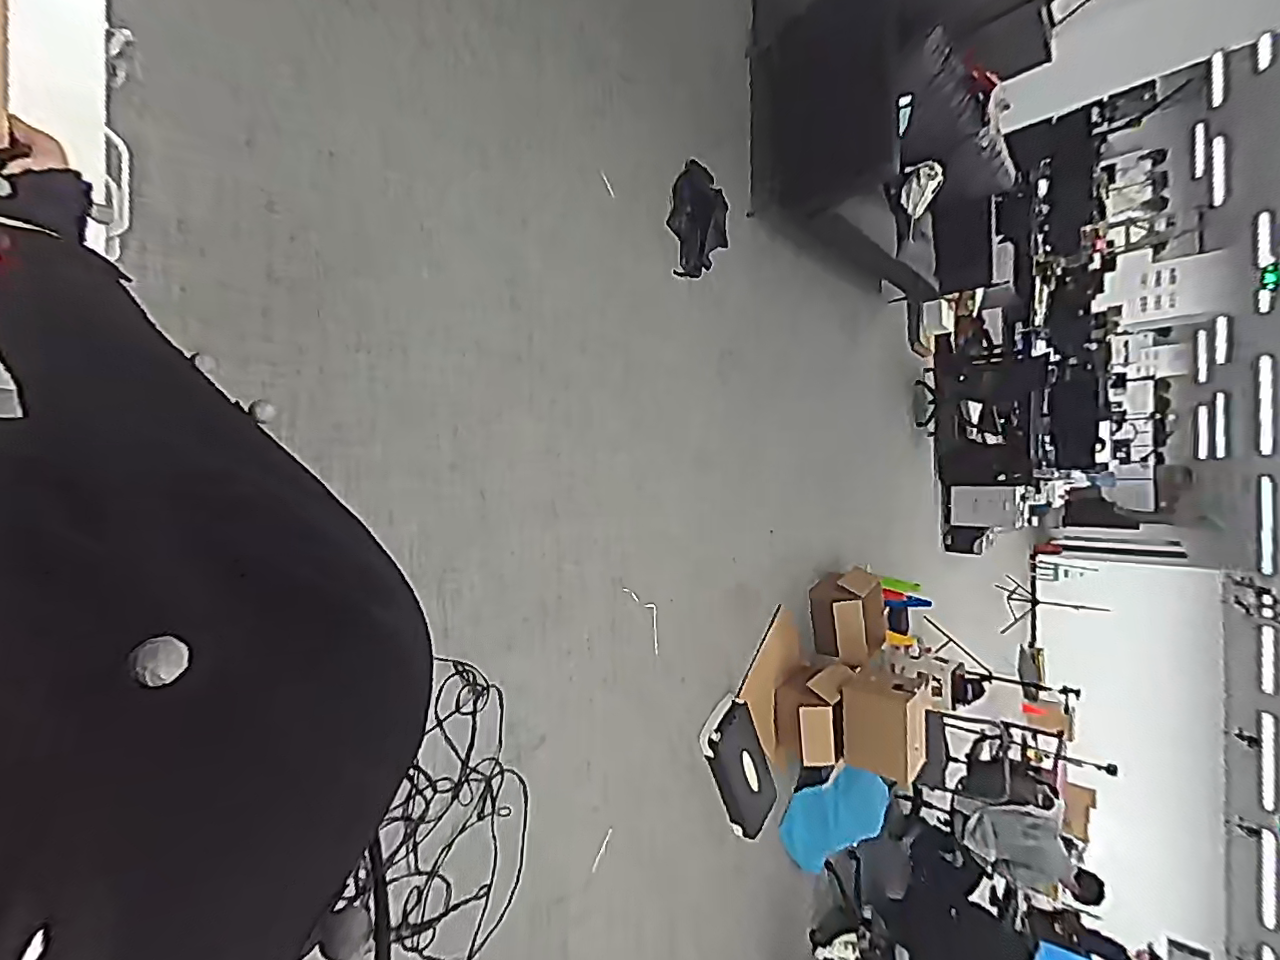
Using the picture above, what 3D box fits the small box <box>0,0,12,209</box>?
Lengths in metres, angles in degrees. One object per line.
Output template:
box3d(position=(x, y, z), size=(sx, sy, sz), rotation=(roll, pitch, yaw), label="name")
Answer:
box3d(position=(-0.609, -0.330, 0.405), size=(0.179, 0.176, 0.168), rotation=(-1, 88, -52), label="small box")
